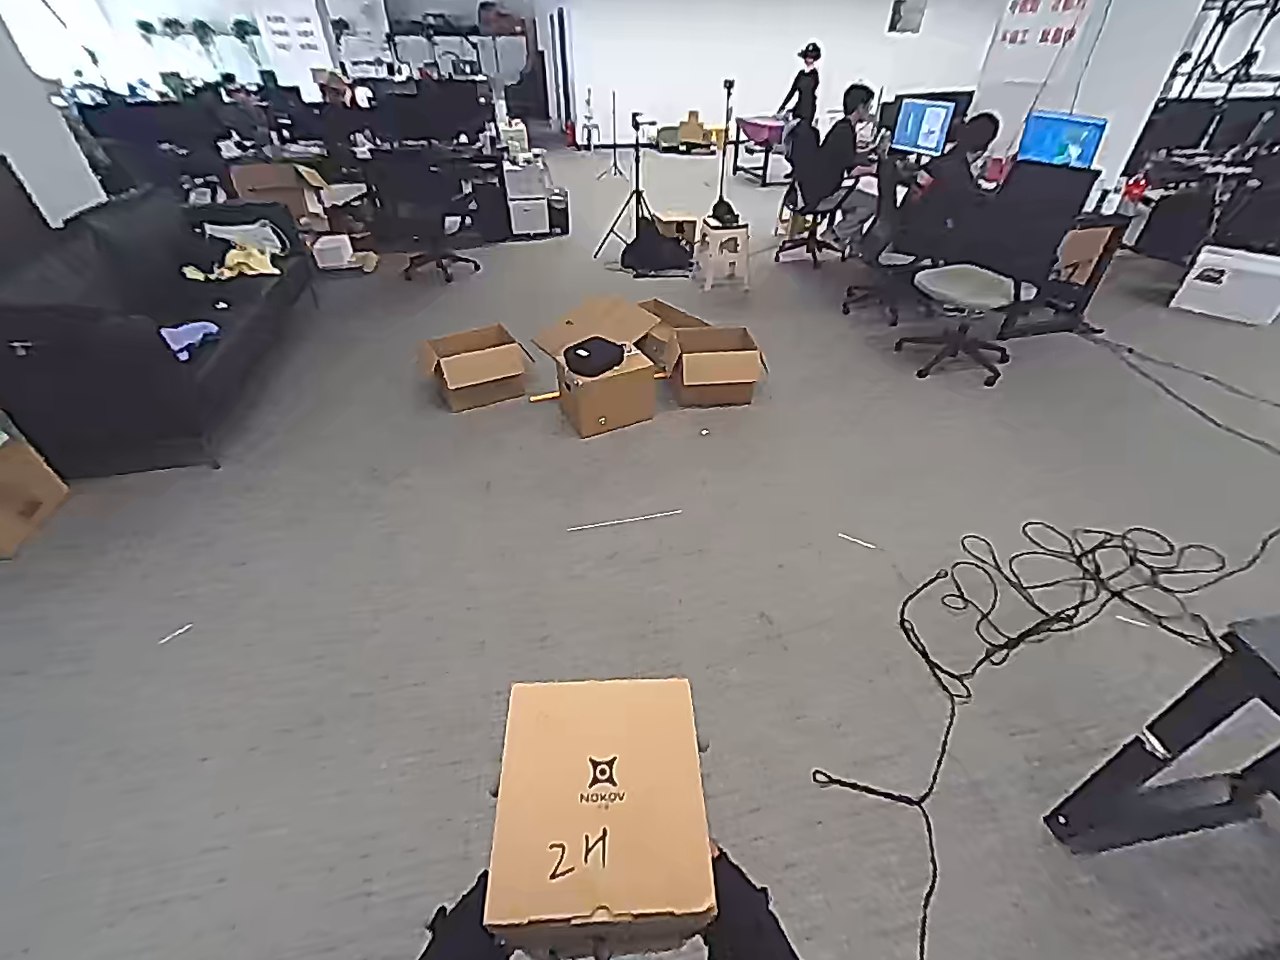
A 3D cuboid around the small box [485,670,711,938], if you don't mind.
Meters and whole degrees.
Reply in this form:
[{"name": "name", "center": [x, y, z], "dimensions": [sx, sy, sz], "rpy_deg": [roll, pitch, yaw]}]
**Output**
[{"name": "small box", "center": [-0.035, 0.297, 0.500], "dimensions": [0.168, 0.176, 0.179], "rpy_deg": [0, 45, -3]}]
